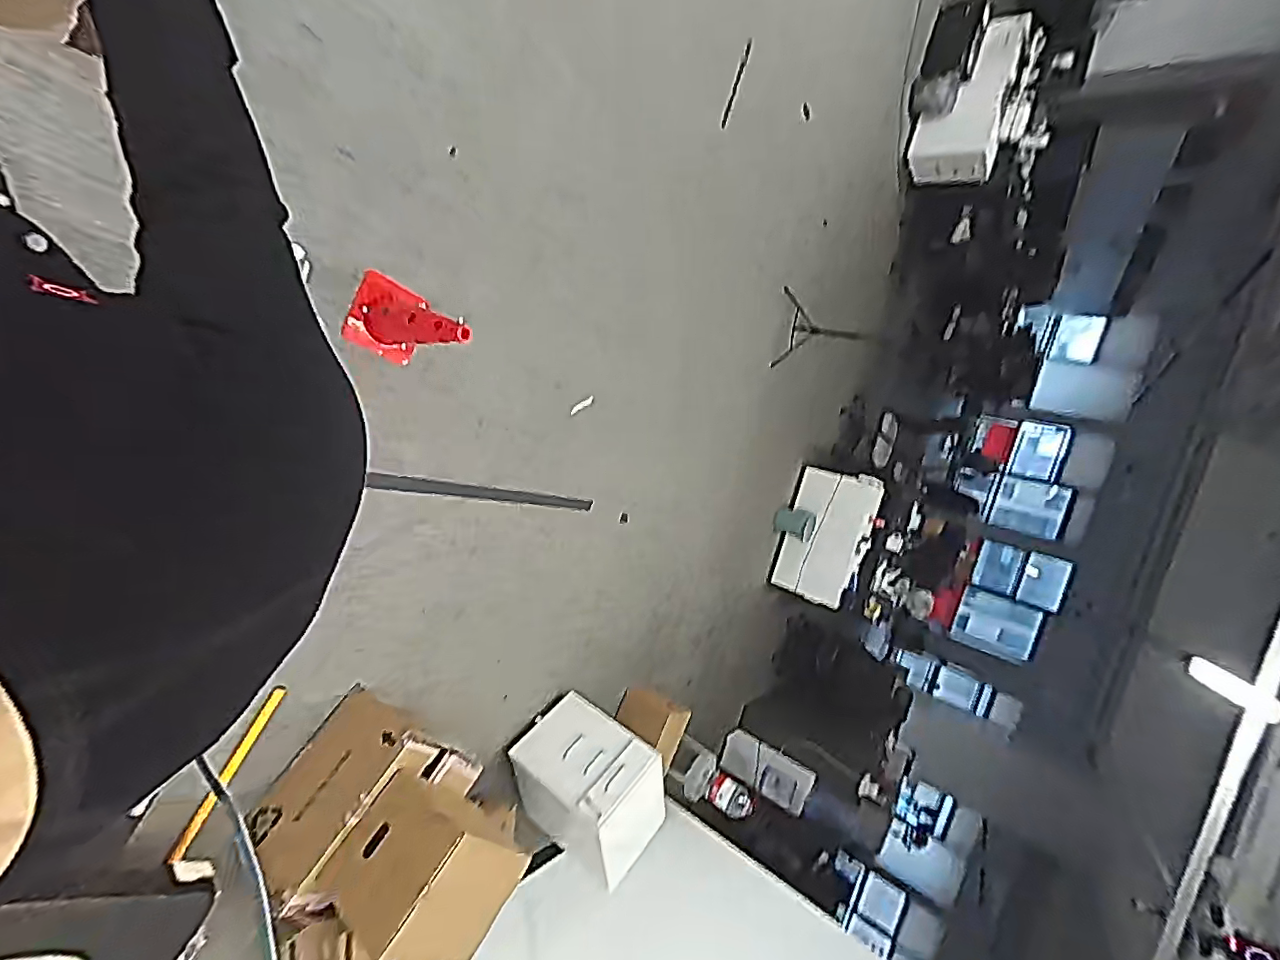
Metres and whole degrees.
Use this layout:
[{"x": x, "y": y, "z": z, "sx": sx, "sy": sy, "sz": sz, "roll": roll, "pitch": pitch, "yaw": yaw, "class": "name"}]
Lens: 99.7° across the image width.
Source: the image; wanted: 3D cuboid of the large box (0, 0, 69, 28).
[{"x": -0.575, "y": -0.455, "z": 0.229, "sx": 0.408, "sy": 0.320, "sz": 0.320, "roll": -24, "pitch": 129, "yaw": -44, "class": "large box"}]

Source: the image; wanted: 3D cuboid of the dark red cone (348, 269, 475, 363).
[{"x": -0.548, "y": -0.393, "z": 1.373, "sx": 0.201, "sy": 0.394, "sz": 0.202, "roll": 23, "pitch": 87, "yaw": -55, "class": "dark red cone"}]
